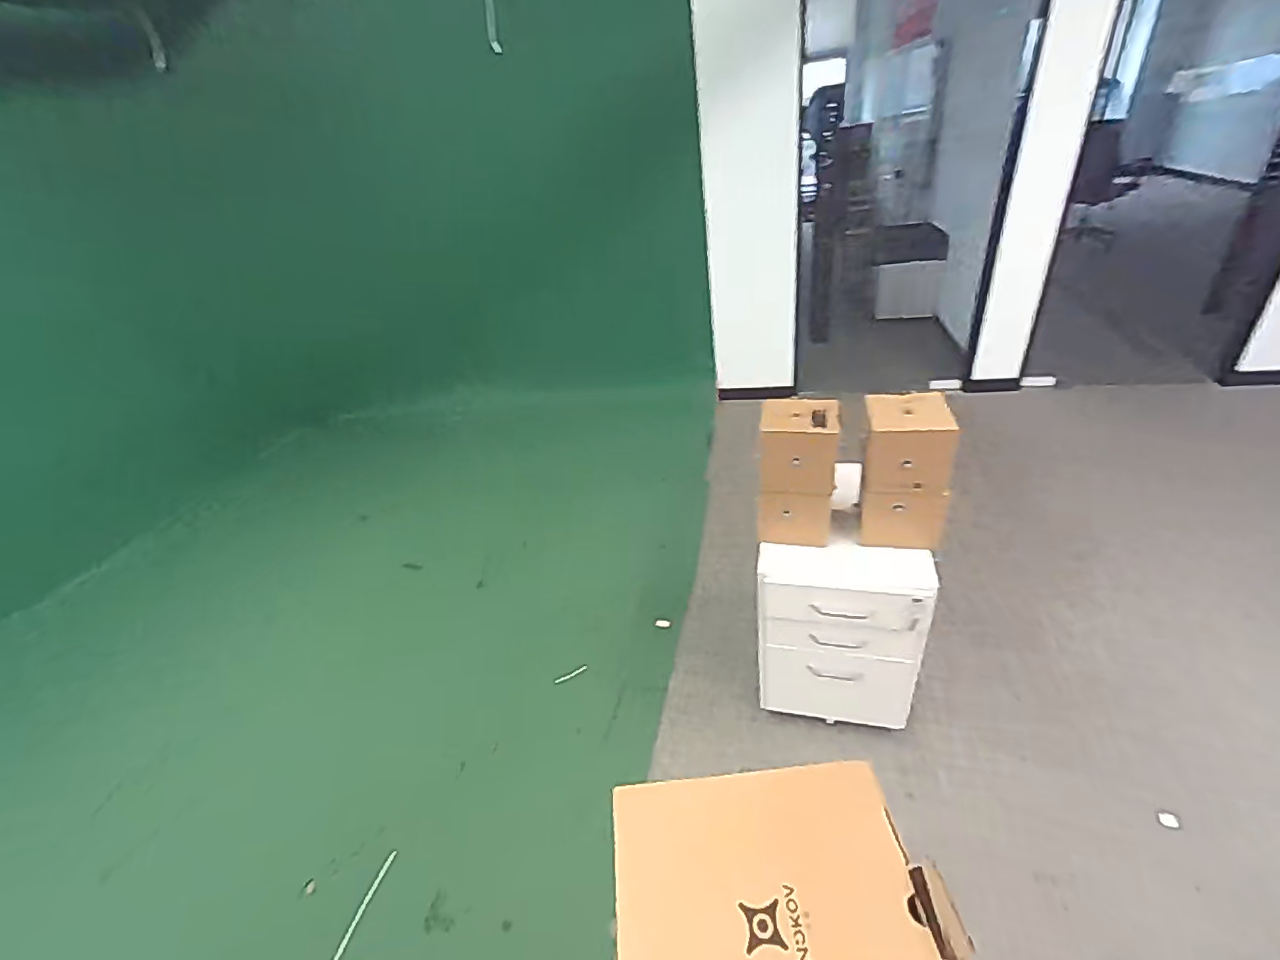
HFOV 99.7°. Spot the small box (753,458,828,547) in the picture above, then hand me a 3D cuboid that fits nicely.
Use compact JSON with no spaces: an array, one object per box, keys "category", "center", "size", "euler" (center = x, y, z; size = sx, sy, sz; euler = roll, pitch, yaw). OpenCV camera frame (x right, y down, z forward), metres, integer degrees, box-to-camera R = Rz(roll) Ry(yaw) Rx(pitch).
[{"category":"small box","center":[0.391,0.058,1.403],"size":[0.179,0.176,0.168],"euler":[3,36,16]}]

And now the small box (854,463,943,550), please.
[{"category":"small box","center":[0.632,0.059,1.345],"size":[0.179,0.176,0.168],"euler":[2,35,16]}]

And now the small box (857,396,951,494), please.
[{"category":"small box","center":[0.605,-0.079,1.260],"size":[0.168,0.176,0.179],"euler":[1,34,15]}]
